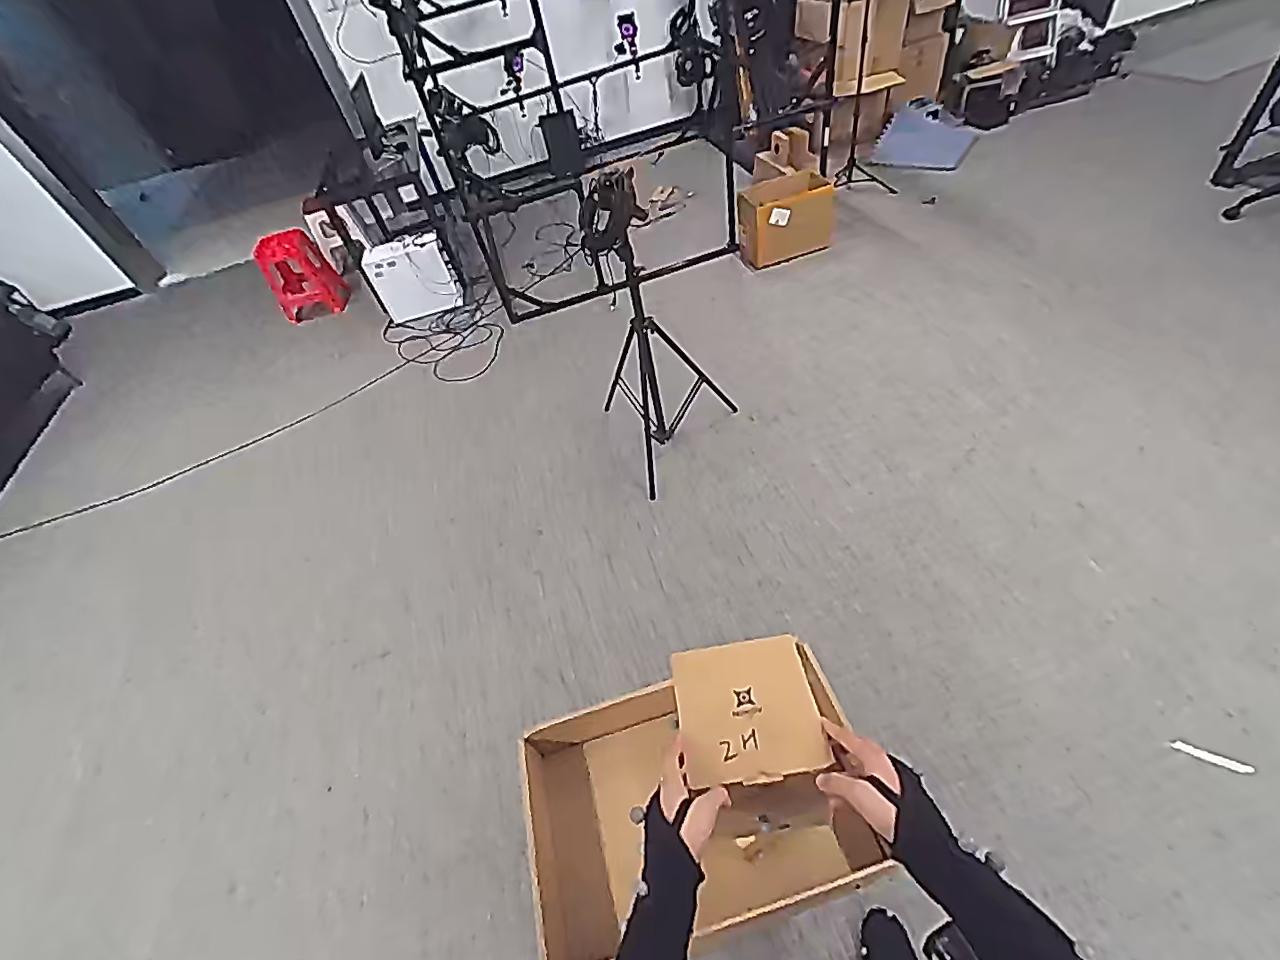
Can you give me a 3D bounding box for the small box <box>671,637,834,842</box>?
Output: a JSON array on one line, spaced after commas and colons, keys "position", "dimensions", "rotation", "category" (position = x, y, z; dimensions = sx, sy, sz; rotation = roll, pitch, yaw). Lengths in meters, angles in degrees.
[{"position": [0.138, 0.335, 0.703], "dimensions": [0.168, 0.176, 0.179], "rotation": [-11, 39, 3], "category": "small box"}]
